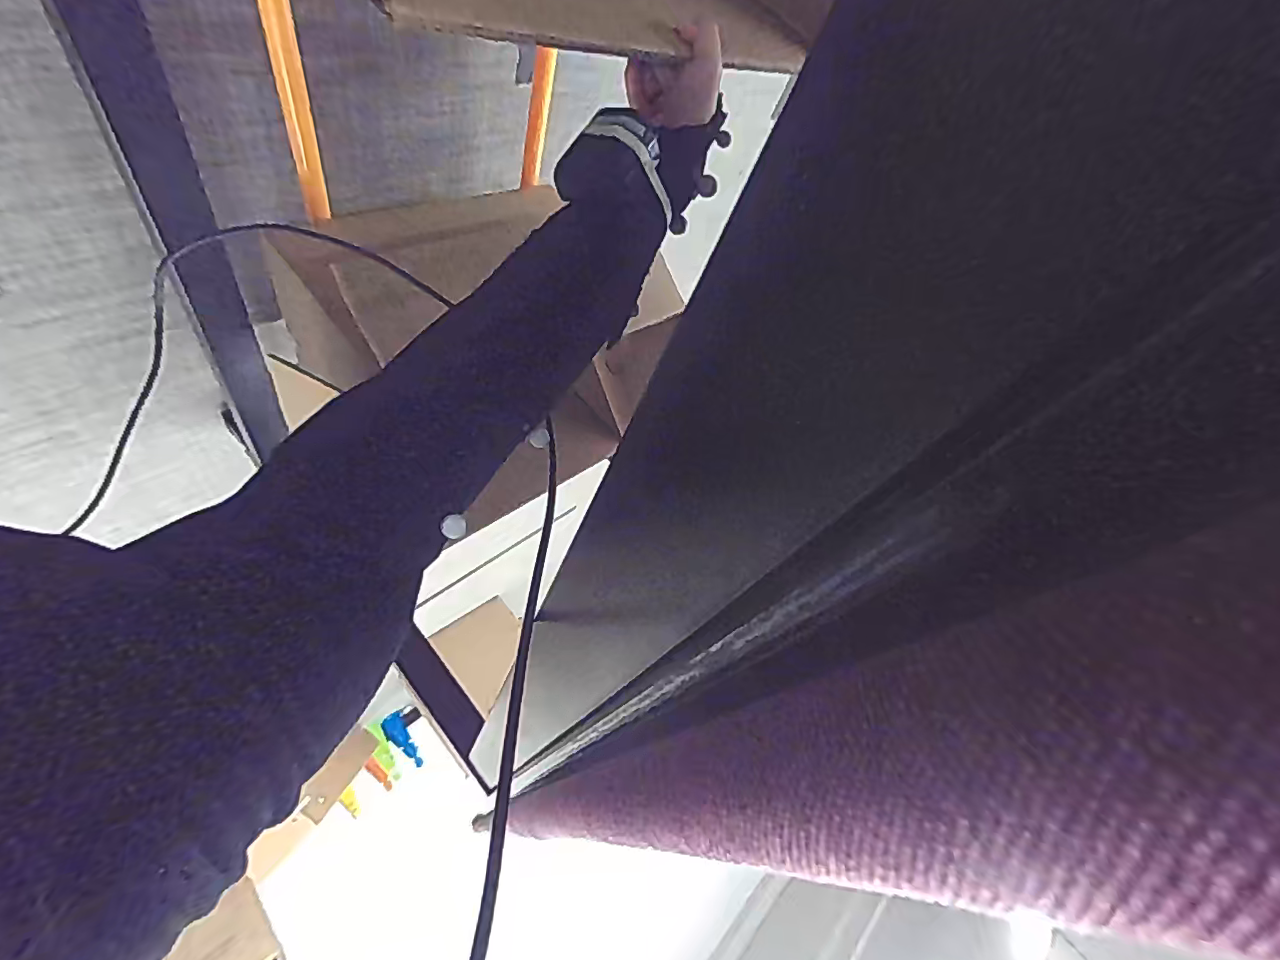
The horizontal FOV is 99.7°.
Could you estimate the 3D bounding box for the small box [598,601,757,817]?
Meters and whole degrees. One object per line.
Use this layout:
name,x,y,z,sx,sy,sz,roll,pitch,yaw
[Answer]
small box,0.071,0.282,0.679,0.168,0.176,0.179,-33,164,-40
